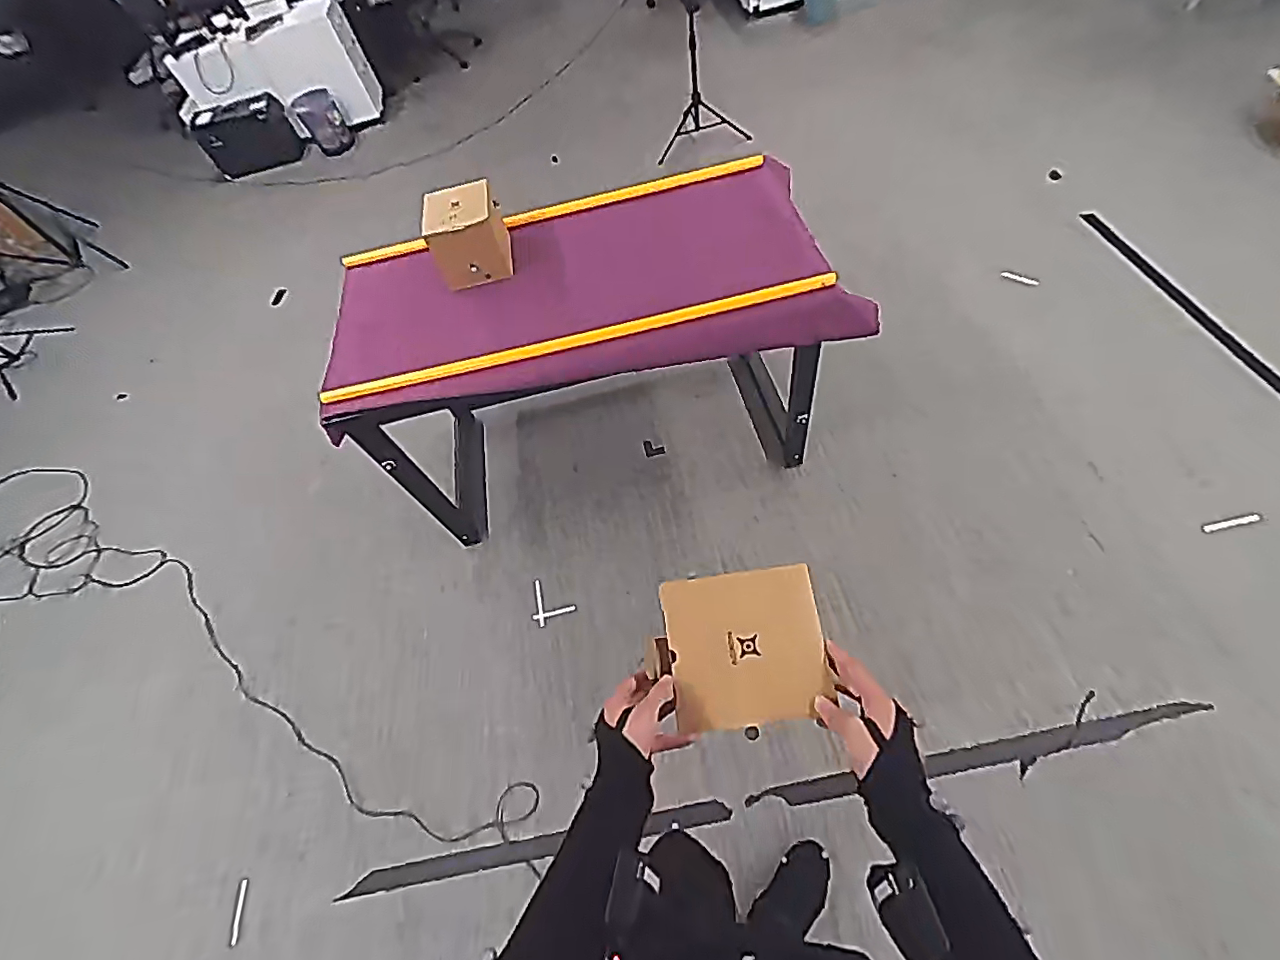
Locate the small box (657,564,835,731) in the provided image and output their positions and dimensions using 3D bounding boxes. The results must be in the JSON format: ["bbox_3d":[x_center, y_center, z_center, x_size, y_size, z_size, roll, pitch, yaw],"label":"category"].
[{"bbox_3d":[0.126,0.208,0.681,0.179,0.176,0.168,-10,71,7],"label":"small box"}]

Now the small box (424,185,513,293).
[{"bbox_3d":[-0.436,-0.616,1.392,0.168,0.176,0.179,-13,59,3],"label":"small box"}]
